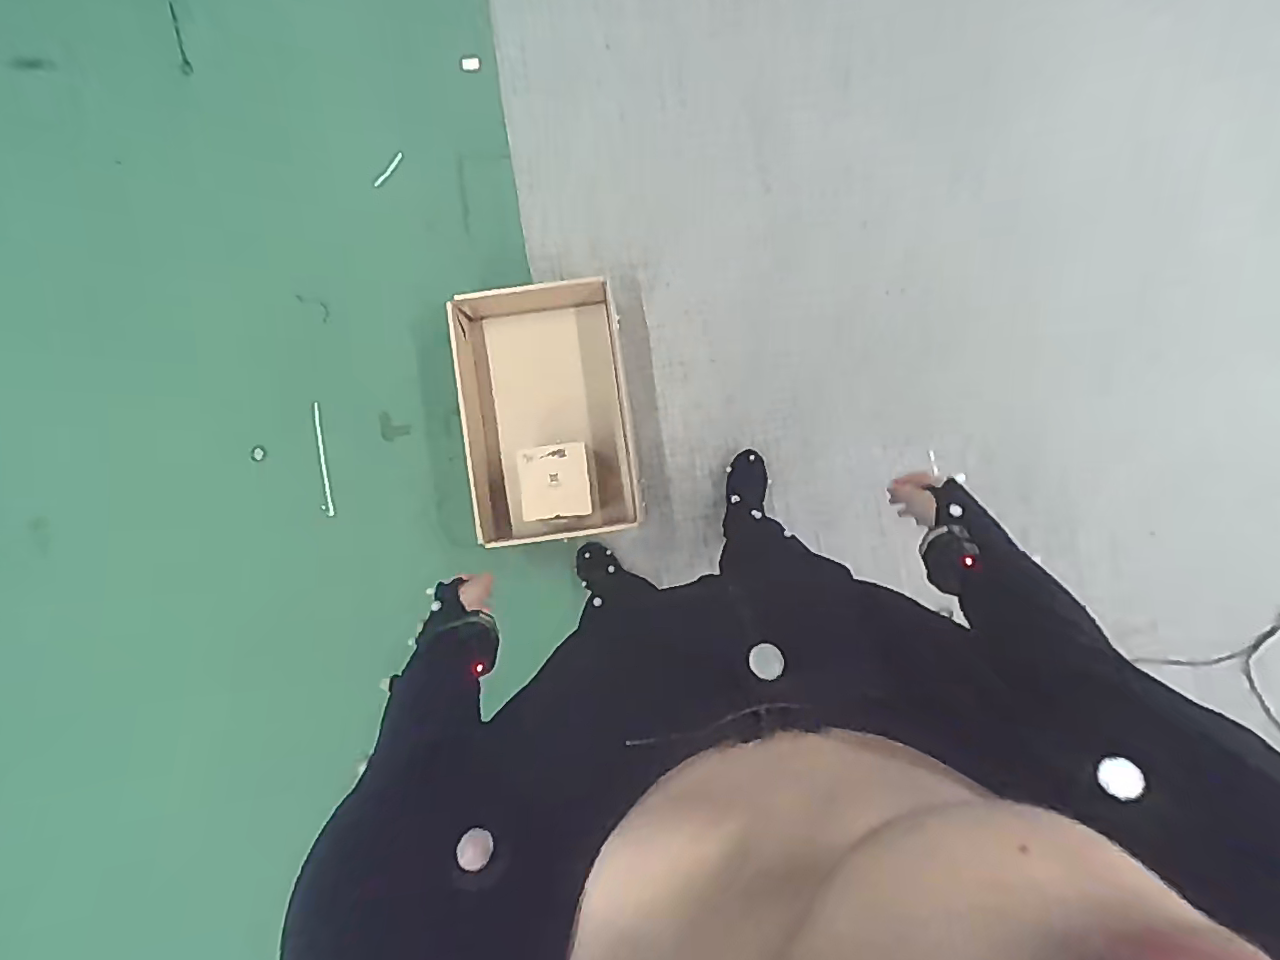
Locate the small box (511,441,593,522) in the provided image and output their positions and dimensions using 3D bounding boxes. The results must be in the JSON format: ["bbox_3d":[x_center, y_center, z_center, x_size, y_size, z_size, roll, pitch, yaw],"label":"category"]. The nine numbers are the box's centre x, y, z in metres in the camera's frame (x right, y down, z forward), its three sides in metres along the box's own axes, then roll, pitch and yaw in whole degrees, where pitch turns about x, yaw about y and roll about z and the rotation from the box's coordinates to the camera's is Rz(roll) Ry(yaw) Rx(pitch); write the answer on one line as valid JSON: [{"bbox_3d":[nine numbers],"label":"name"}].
[{"bbox_3d":[-0.210,0.004,1.330,0.168,0.176,0.179,-7,89,-1],"label":"small box"}]
